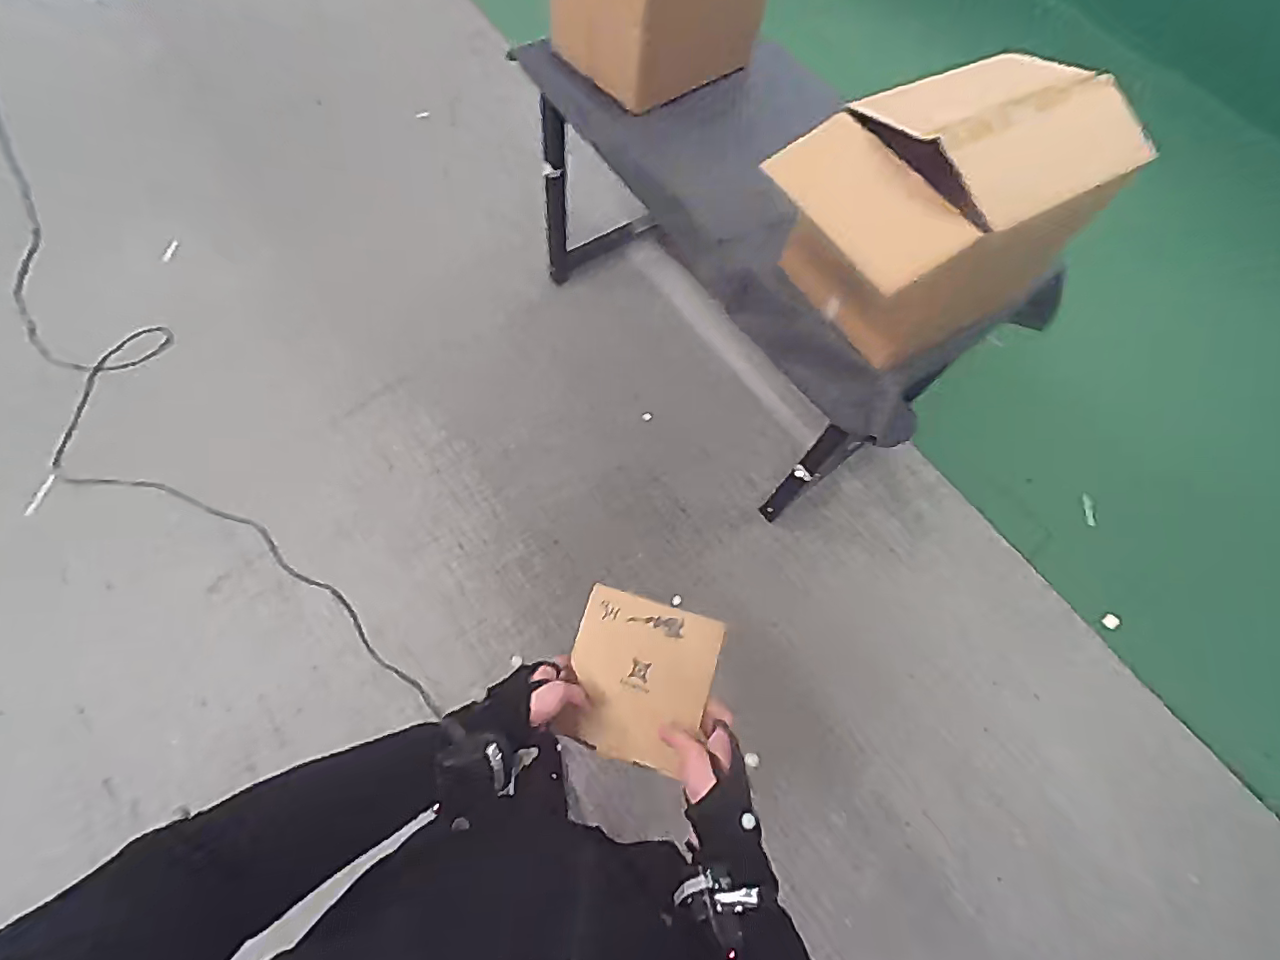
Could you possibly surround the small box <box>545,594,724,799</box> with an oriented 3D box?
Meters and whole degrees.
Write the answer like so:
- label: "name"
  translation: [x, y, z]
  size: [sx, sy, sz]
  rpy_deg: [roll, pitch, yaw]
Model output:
- label: "small box"
  translation: [0.007, 0.249, 0.672]
  size: [0.168, 0.176, 0.179]
  rpy_deg: [14, 81, 13]
